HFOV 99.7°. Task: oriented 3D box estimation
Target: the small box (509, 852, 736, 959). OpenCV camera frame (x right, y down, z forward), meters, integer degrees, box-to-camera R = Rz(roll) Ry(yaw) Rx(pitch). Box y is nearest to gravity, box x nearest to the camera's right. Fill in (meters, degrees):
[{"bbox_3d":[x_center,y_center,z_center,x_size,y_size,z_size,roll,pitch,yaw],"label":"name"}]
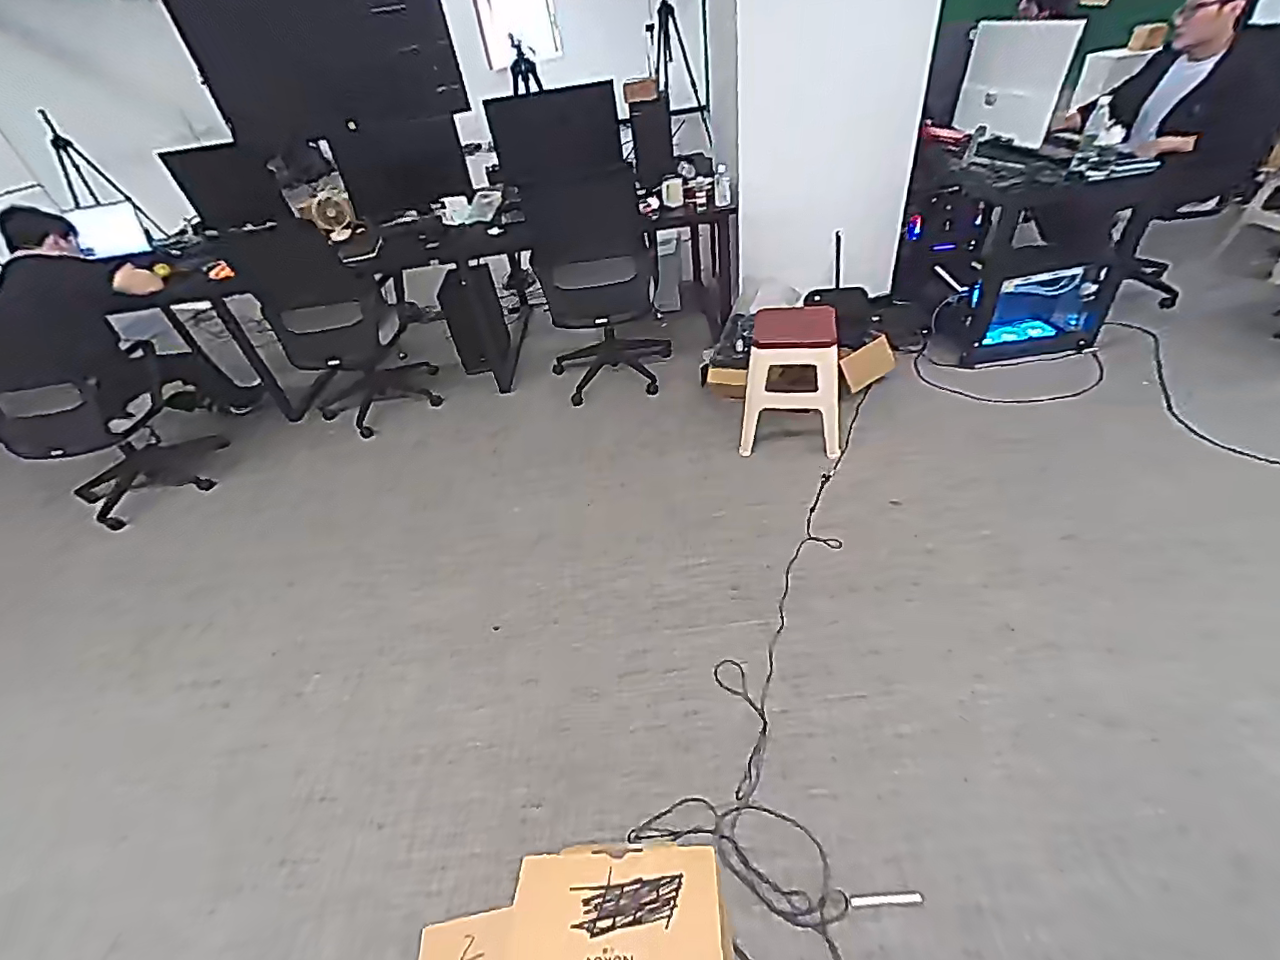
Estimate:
[{"bbox_3d":[-0.006,0.425,0.409,0.168,0.176,0.179,-8,23,6],"label":"small box"}]
